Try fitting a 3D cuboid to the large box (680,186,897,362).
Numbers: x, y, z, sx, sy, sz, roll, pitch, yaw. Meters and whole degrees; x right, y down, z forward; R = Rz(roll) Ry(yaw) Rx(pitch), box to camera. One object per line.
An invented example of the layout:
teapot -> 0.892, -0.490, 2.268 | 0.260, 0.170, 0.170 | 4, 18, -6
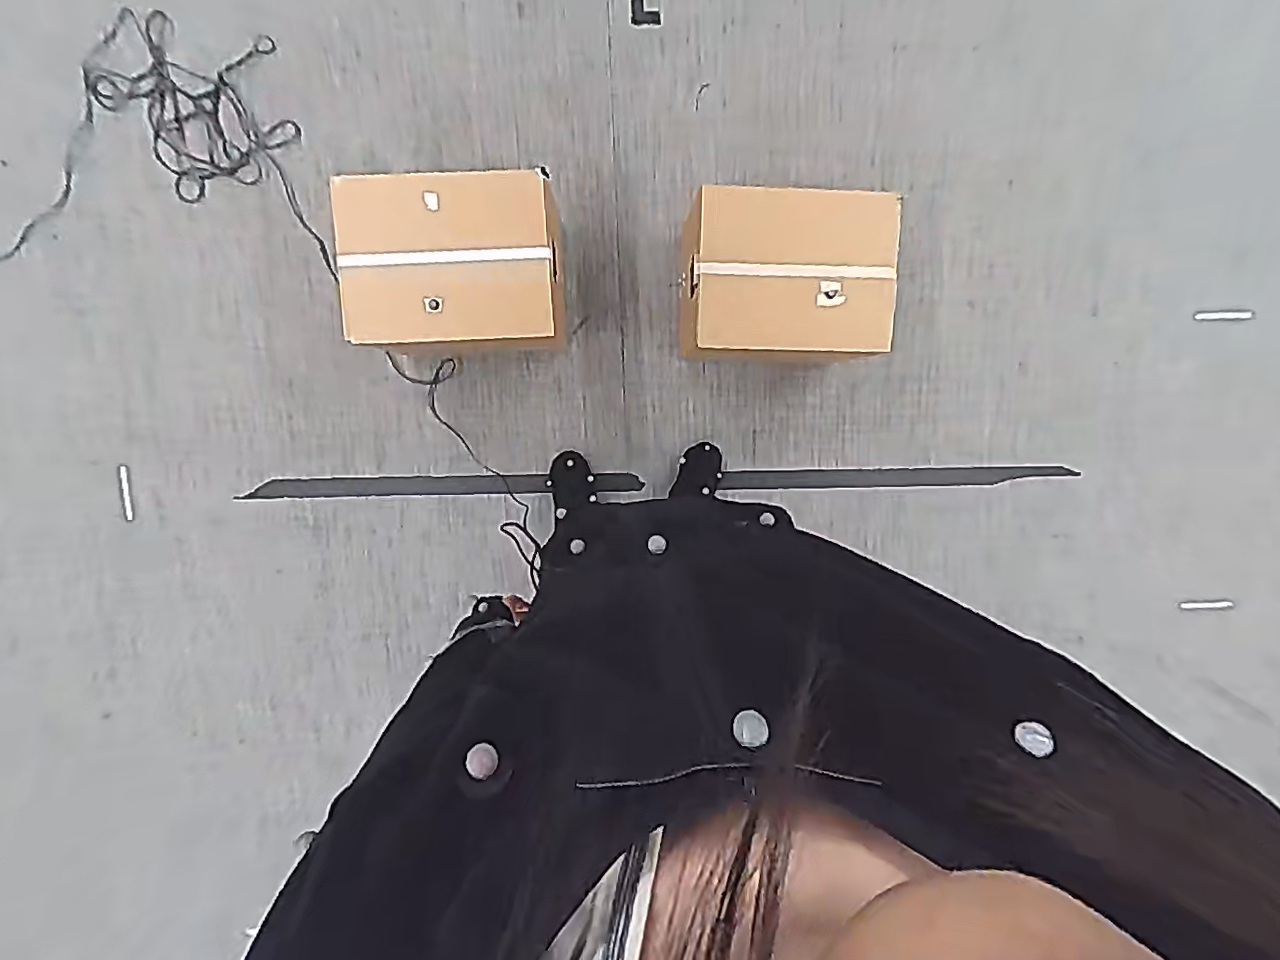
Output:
large box -> 0.308, -0.443, 1.239 | 0.408, 0.320, 0.320 | 1, 98, -4
